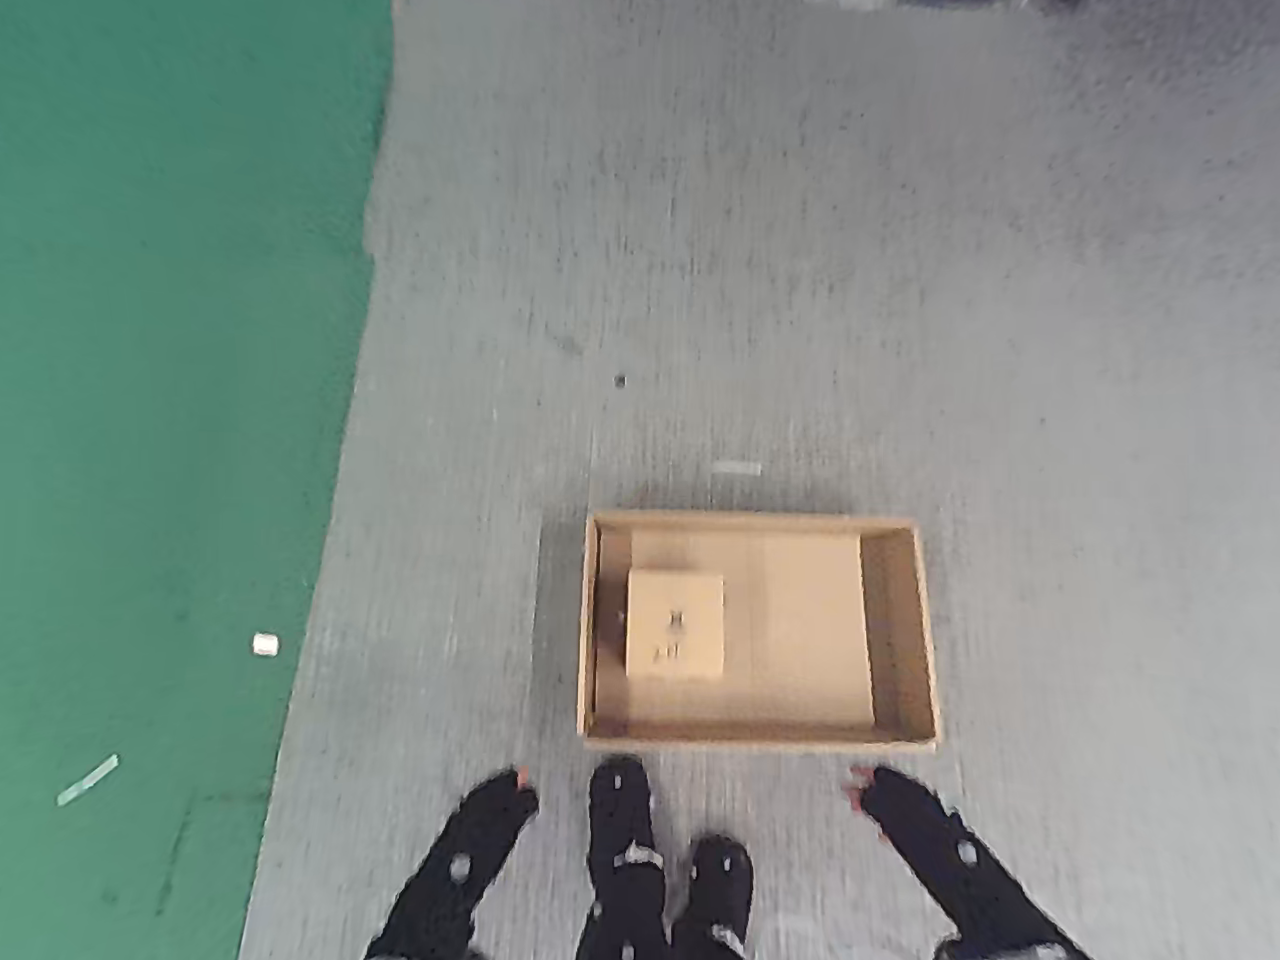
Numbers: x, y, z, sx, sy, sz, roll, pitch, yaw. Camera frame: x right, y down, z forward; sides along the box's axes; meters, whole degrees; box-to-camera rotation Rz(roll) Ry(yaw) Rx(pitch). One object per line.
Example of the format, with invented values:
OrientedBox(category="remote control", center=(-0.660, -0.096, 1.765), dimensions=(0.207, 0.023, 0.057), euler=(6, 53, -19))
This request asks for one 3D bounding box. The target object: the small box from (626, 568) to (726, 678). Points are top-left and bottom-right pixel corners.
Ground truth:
OrientedBox(category="small box", center=(0.062, 0.262, 0.993), dimensions=(0.168, 0.176, 0.179), euler=(3, 75, -1))
